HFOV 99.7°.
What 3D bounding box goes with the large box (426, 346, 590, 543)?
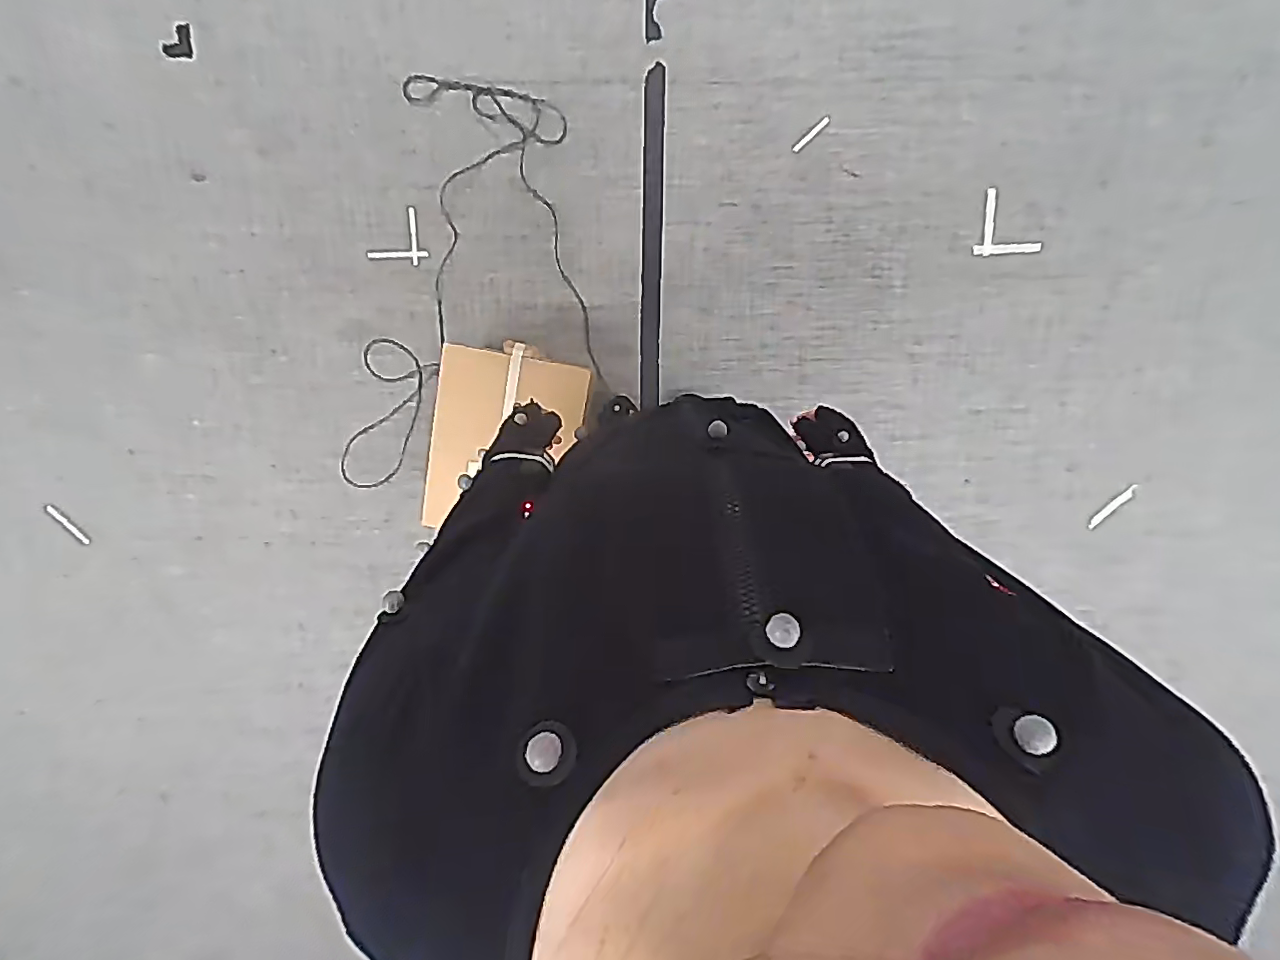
[{"bbox_3d":[-0.307,-0.103,1.334,0.320,0.320,0.408,10,102,-4],"label":"large box"}]
